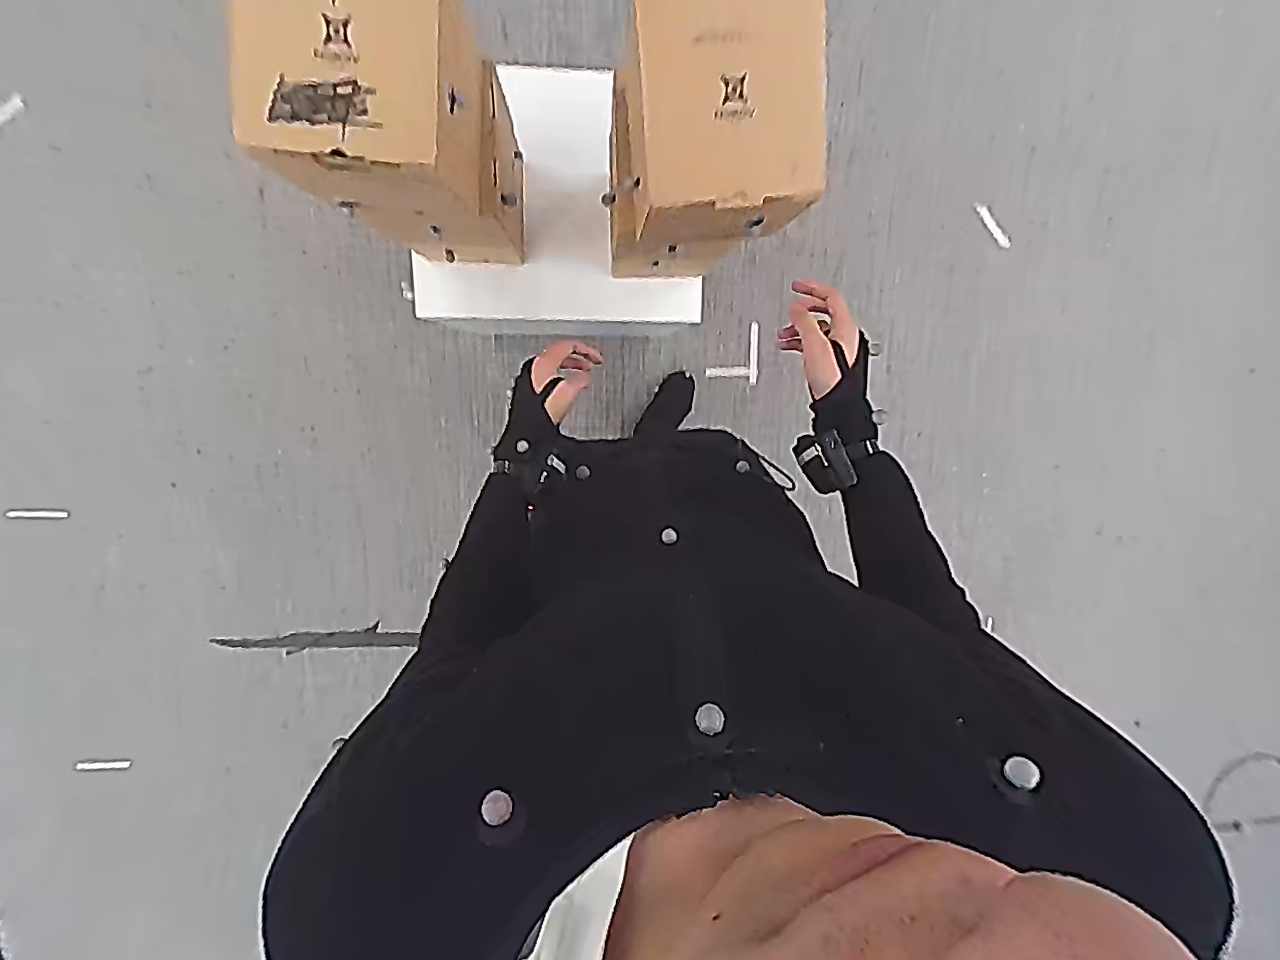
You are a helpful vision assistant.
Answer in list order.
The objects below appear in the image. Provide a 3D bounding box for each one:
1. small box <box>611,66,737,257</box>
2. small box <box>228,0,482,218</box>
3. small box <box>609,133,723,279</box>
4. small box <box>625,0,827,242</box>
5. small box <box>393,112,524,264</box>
[{"bbox_3d":[0.049,-0.395,0.703,0.168,0.176,0.179,-2,102,-4],"label":"small box"},{"bbox_3d":[-0.251,-0.367,0.515,0.168,0.176,0.179,3,101,-6],"label":"small box"},{"bbox_3d":[0.035,-0.429,0.864,0.168,0.176,0.179,-2,102,-3],"label":"small box"},{"bbox_3d":[0.076,-0.350,0.548,0.168,0.176,0.179,-7,102,-4],"label":"small box"},{"bbox_3d":[-0.272,-0.440,0.836,0.168,0.176,0.179,0,101,-6],"label":"small box"}]
